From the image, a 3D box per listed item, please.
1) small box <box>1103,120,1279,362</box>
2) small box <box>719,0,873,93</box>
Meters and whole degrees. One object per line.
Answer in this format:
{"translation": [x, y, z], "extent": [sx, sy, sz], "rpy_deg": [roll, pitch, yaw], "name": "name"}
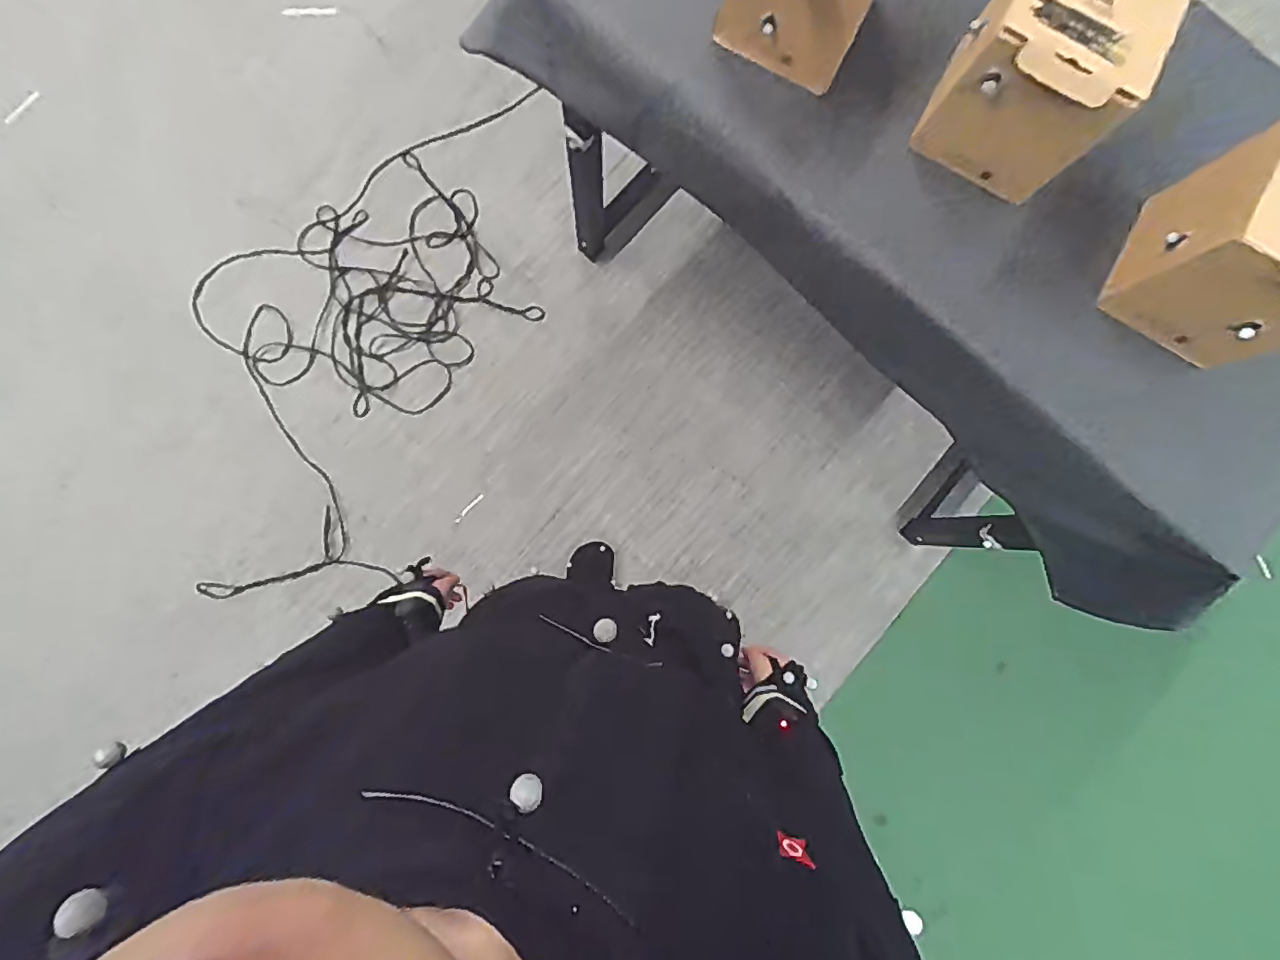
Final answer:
{"translation": [0.705, -0.265, 0.632], "extent": [0.168, 0.176, 0.179], "rpy_deg": [31, 82, -2], "name": "small box"}
{"translation": [0.209, -0.619, 0.633], "extent": [0.168, 0.176, 0.179], "rpy_deg": [26, 84, -1], "name": "small box"}
